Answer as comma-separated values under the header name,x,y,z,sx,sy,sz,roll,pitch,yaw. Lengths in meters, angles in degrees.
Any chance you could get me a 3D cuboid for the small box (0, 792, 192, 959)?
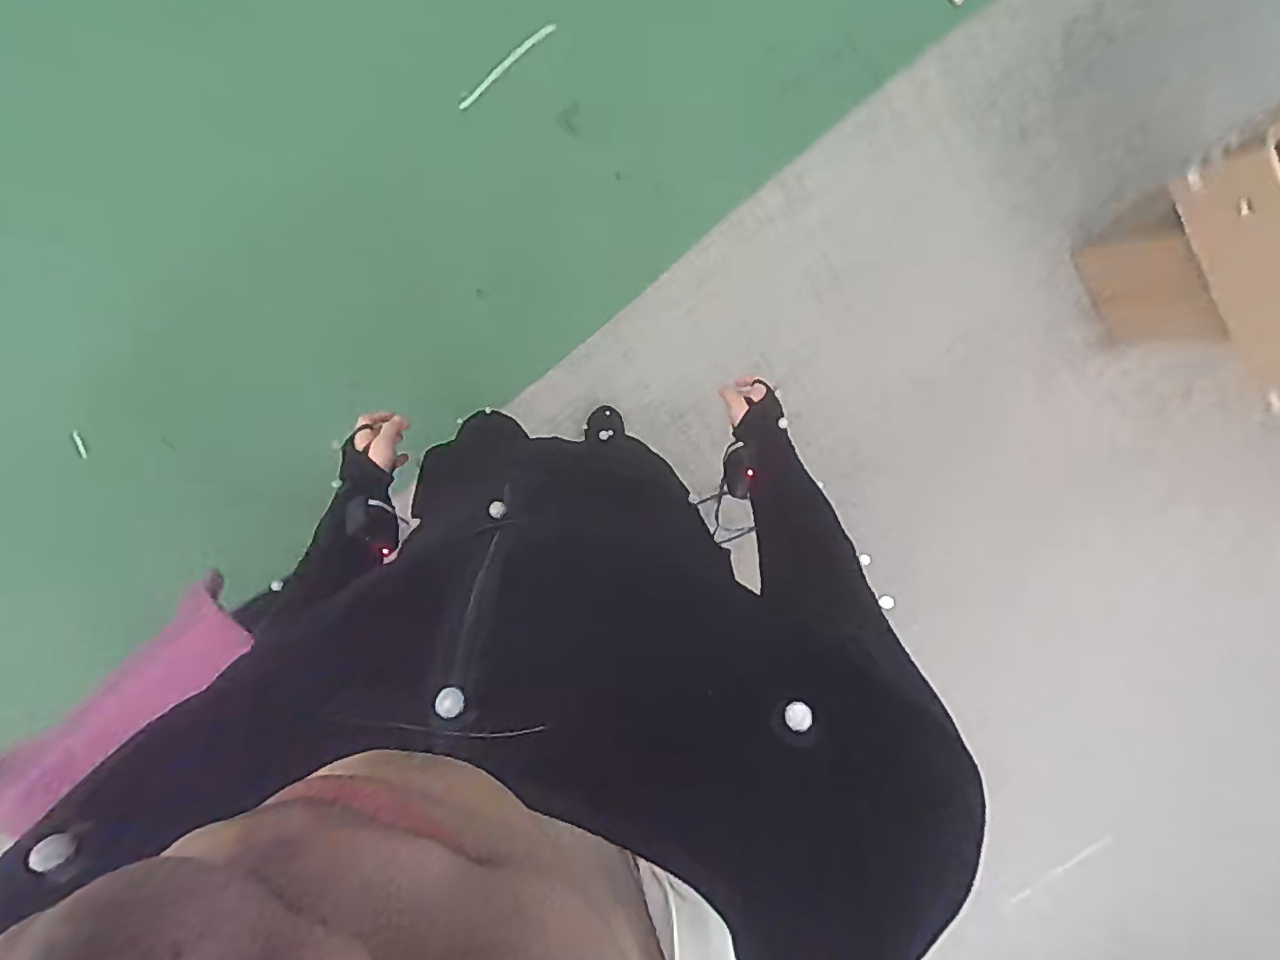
name,x,y,z,sx,sy,sz,roll,pitch,yaw
small box,-0.928,0.682,0.913,0.179,0.176,0.168,-39,101,7
